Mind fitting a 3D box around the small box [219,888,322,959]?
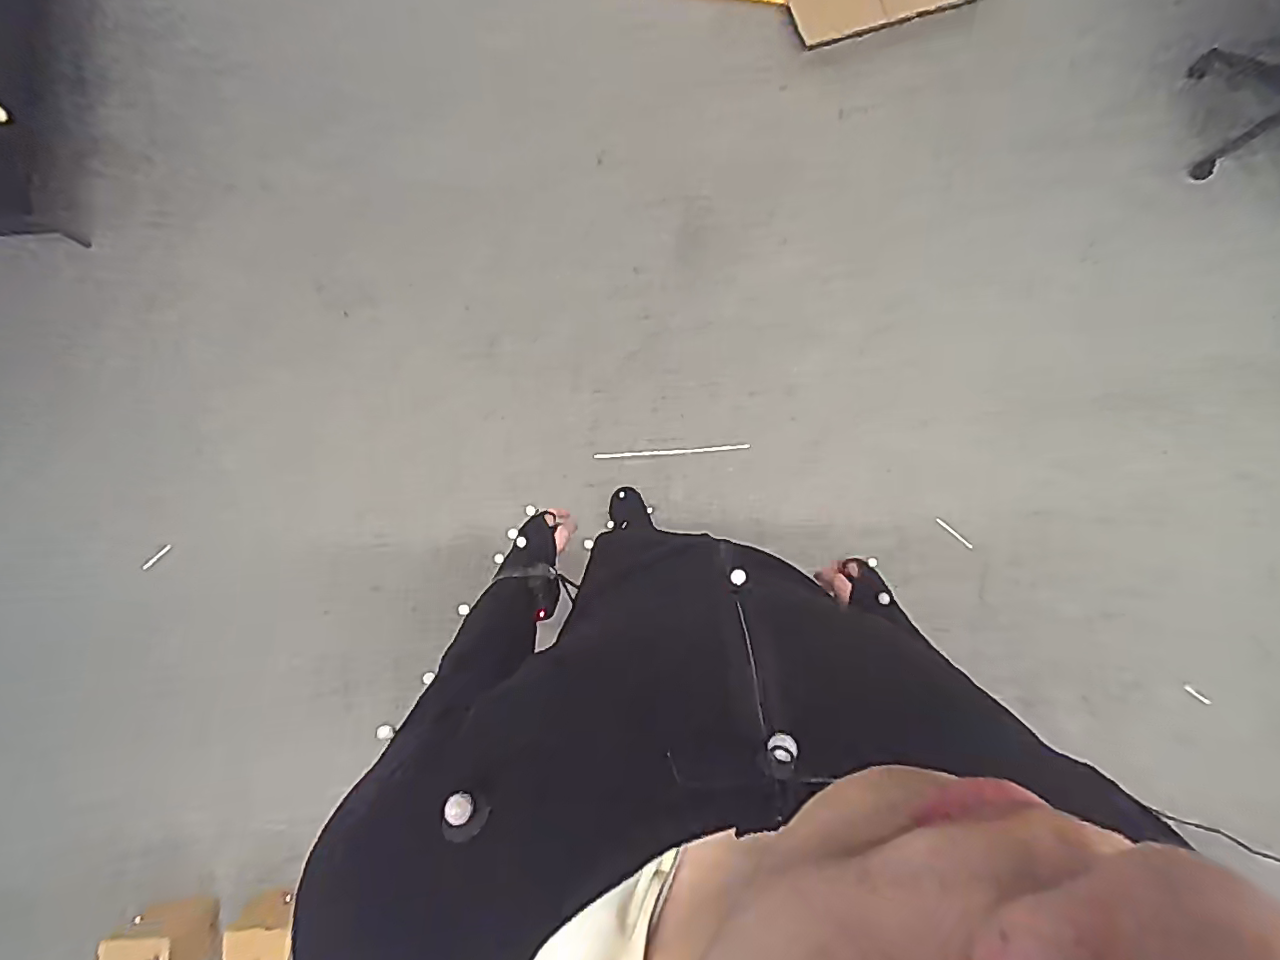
[{"bbox_3d":[-0.971,1.227,1.431,0.168,0.176,0.179,-1,84,-1],"label":"small box"}]
